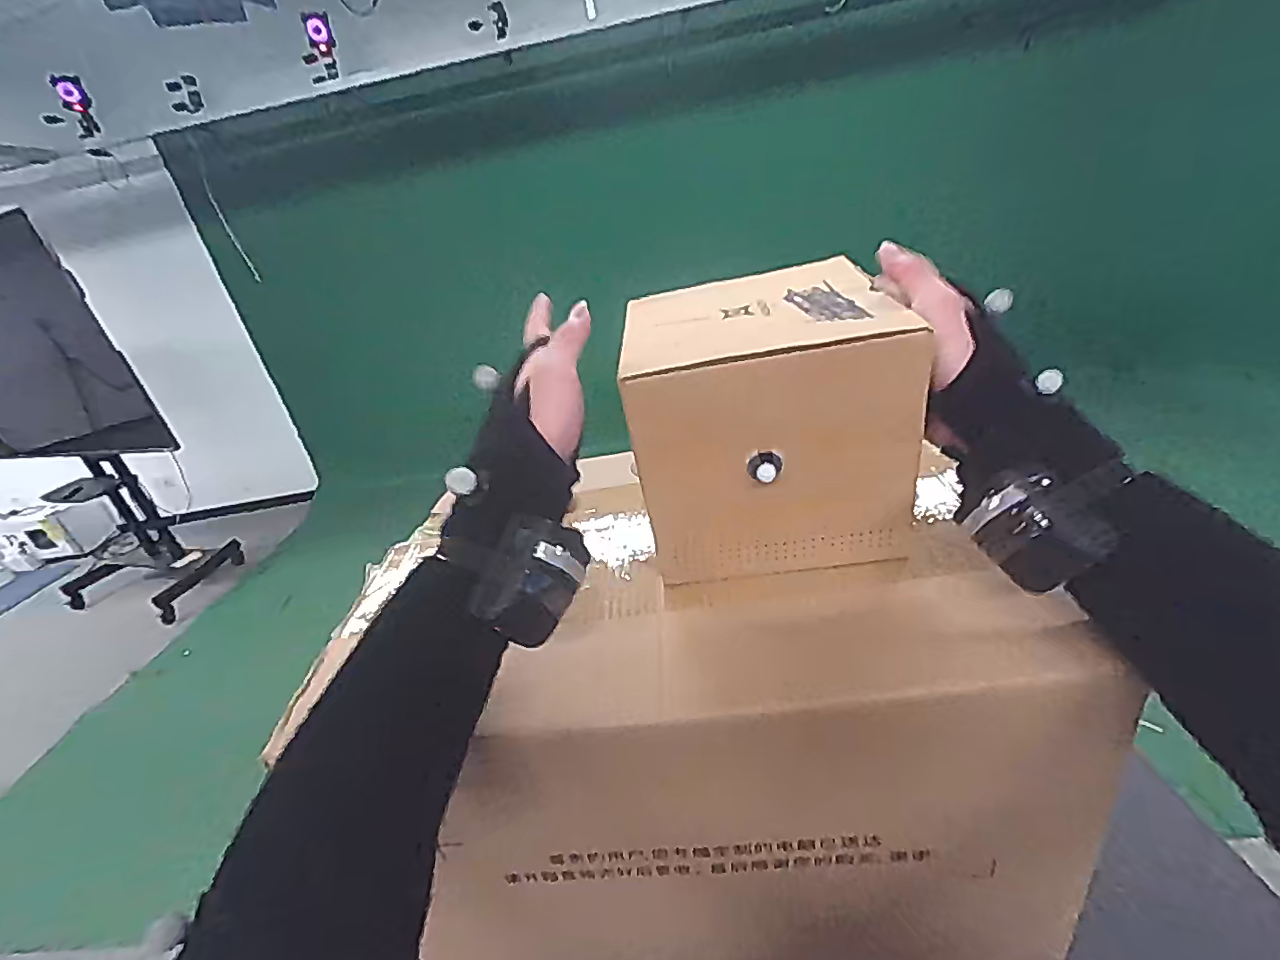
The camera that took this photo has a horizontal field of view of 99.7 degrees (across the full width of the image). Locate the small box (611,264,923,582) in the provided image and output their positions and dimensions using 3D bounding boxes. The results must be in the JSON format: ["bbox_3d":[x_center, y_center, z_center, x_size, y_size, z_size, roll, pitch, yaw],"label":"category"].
[{"bbox_3d":[0.086,-0.044,0.410,0.179,0.176,0.168,-9,33,8],"label":"small box"}]
